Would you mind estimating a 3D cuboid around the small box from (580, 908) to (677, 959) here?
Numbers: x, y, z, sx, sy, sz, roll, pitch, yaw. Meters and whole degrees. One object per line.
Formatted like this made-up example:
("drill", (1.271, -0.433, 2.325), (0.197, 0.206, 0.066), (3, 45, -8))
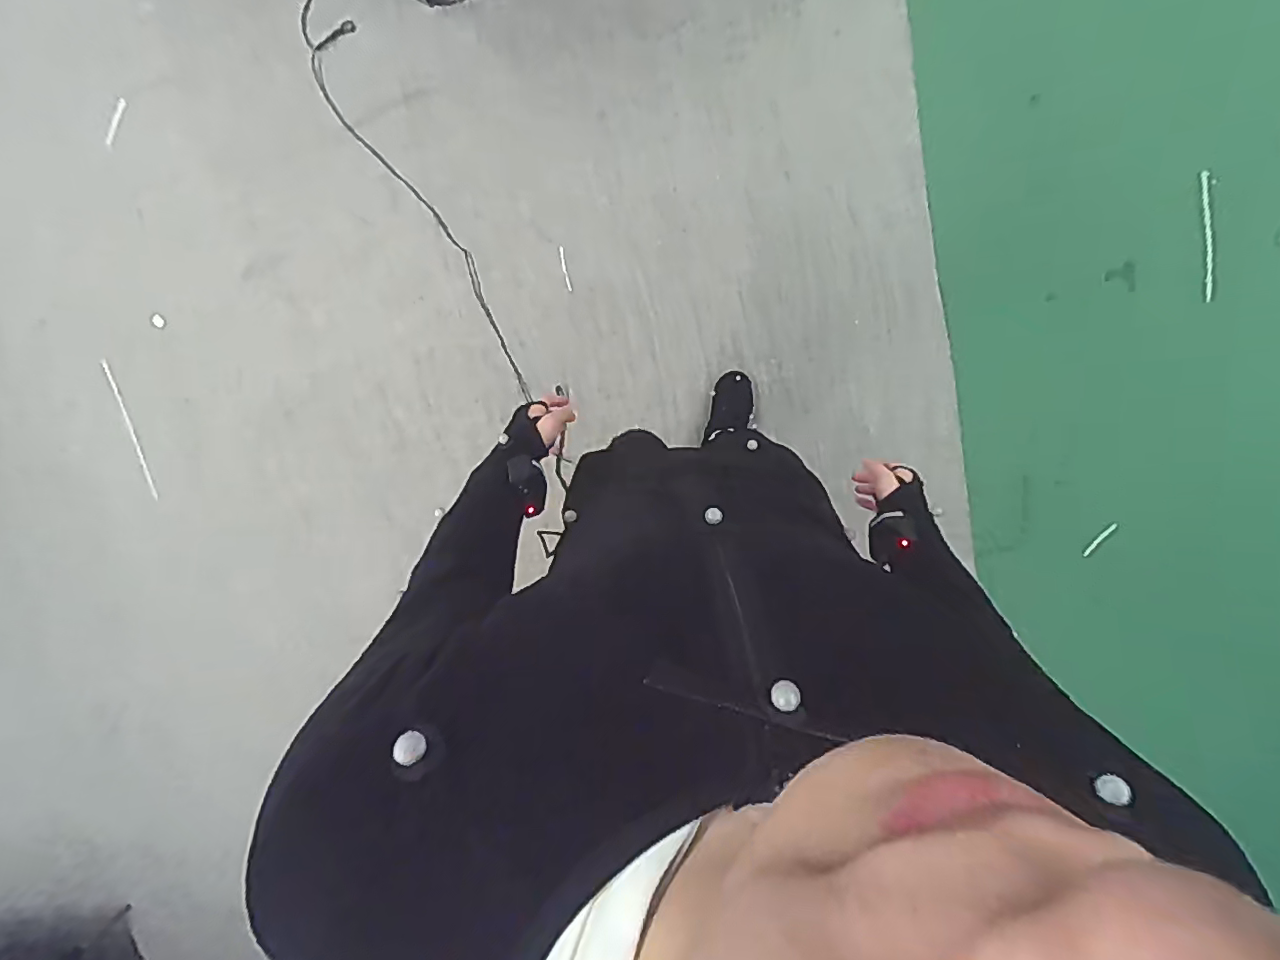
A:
("small box", (-0.024, 1.035, 1.122), (0.168, 0.176, 0.179), (-20, 97, 8))
